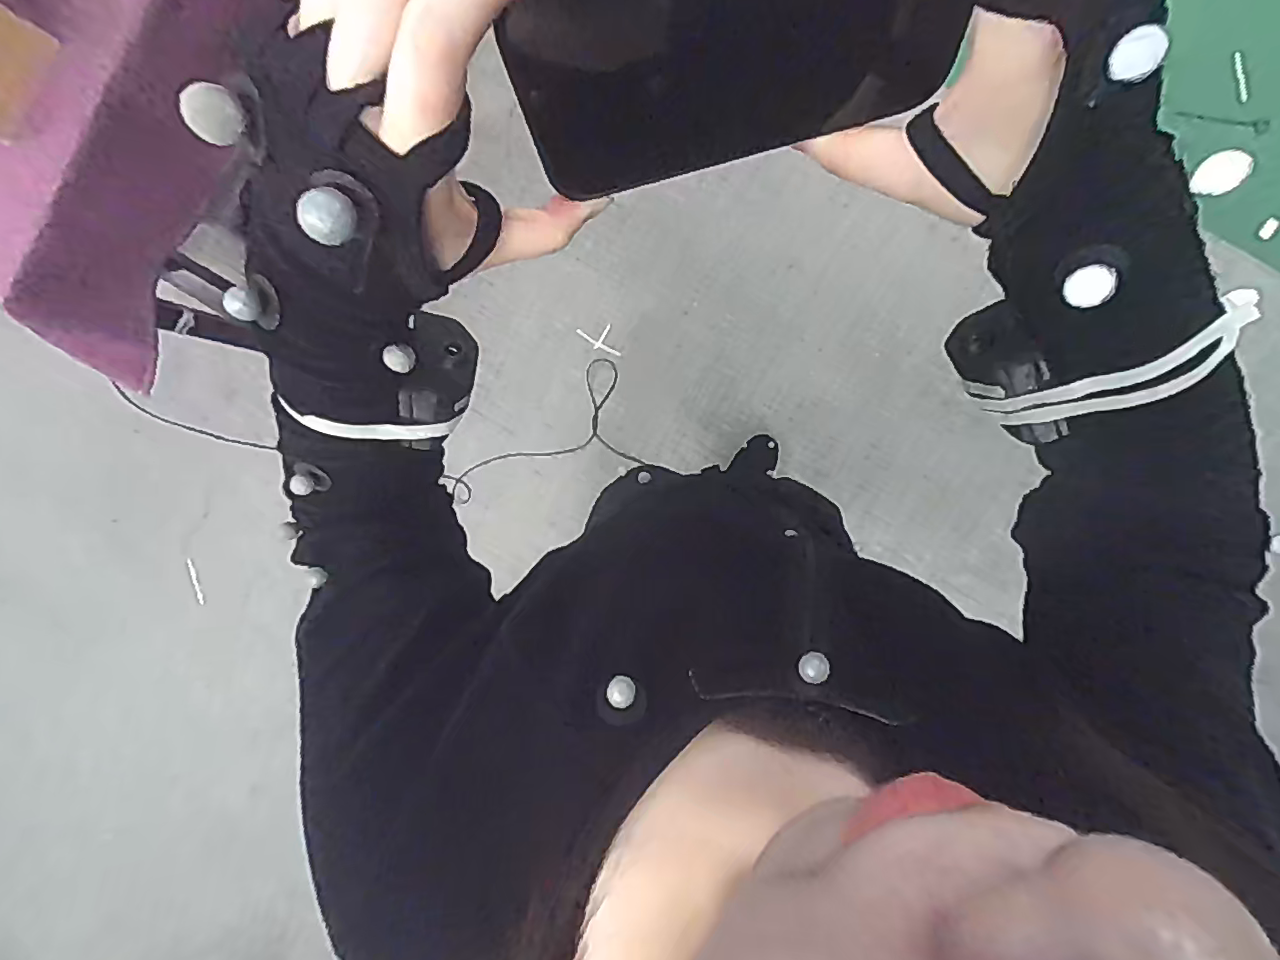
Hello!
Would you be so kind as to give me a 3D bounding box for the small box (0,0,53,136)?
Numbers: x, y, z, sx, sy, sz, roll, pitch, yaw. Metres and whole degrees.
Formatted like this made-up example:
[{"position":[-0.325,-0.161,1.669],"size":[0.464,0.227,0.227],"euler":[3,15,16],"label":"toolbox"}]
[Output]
[{"position":[-0.979,-0.621,0.733],"size":[0.168,0.176,0.179],"euler":[33,94,3],"label":"small box"}]
